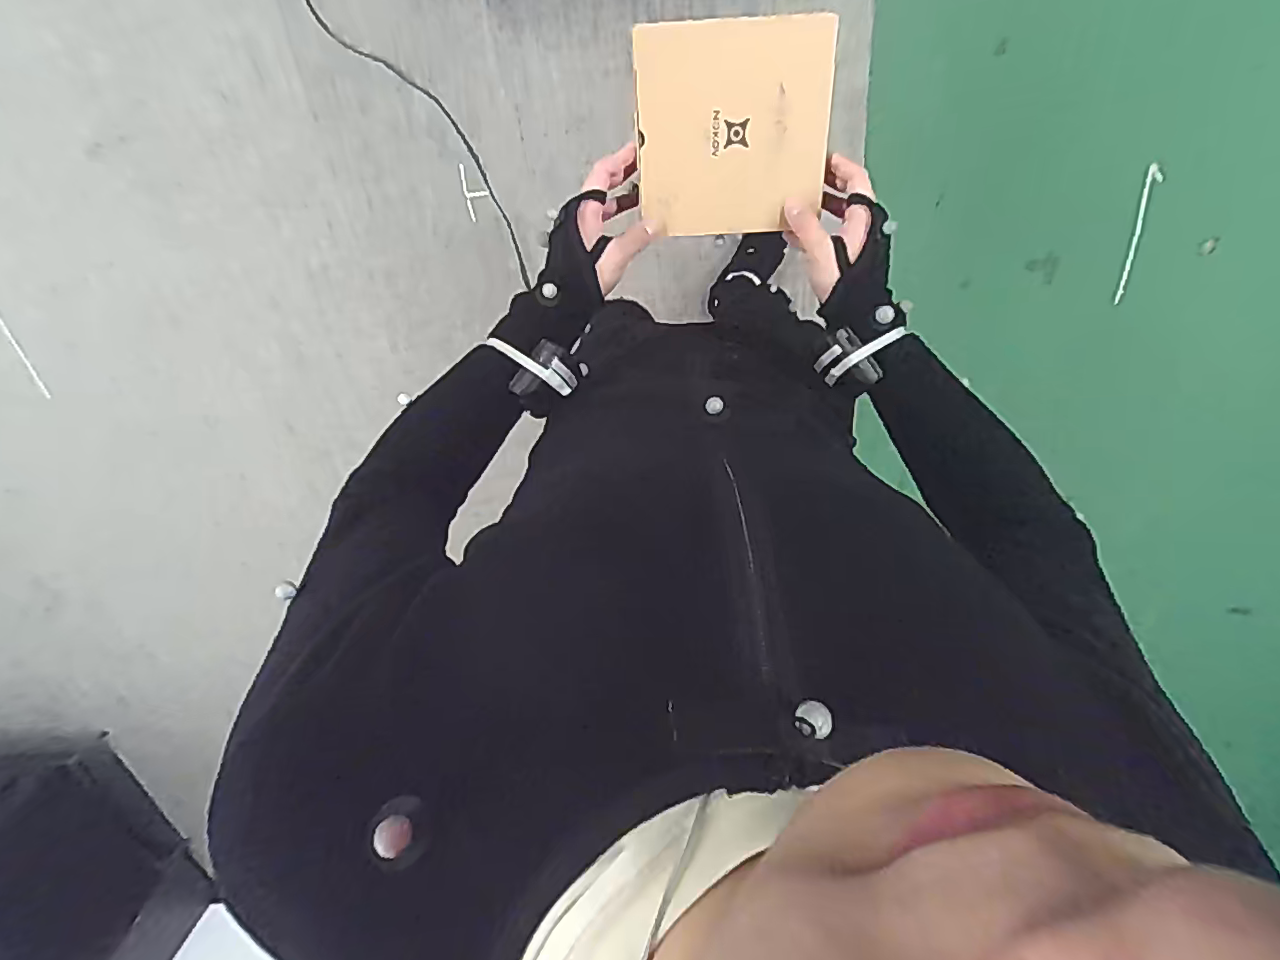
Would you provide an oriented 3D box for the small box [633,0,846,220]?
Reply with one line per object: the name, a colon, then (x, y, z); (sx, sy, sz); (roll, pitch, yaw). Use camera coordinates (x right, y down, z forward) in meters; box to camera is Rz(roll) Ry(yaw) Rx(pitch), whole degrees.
small box: (0.085, -0.356, 0.550); (0.179, 0.176, 0.168); (-2, 117, 1)
